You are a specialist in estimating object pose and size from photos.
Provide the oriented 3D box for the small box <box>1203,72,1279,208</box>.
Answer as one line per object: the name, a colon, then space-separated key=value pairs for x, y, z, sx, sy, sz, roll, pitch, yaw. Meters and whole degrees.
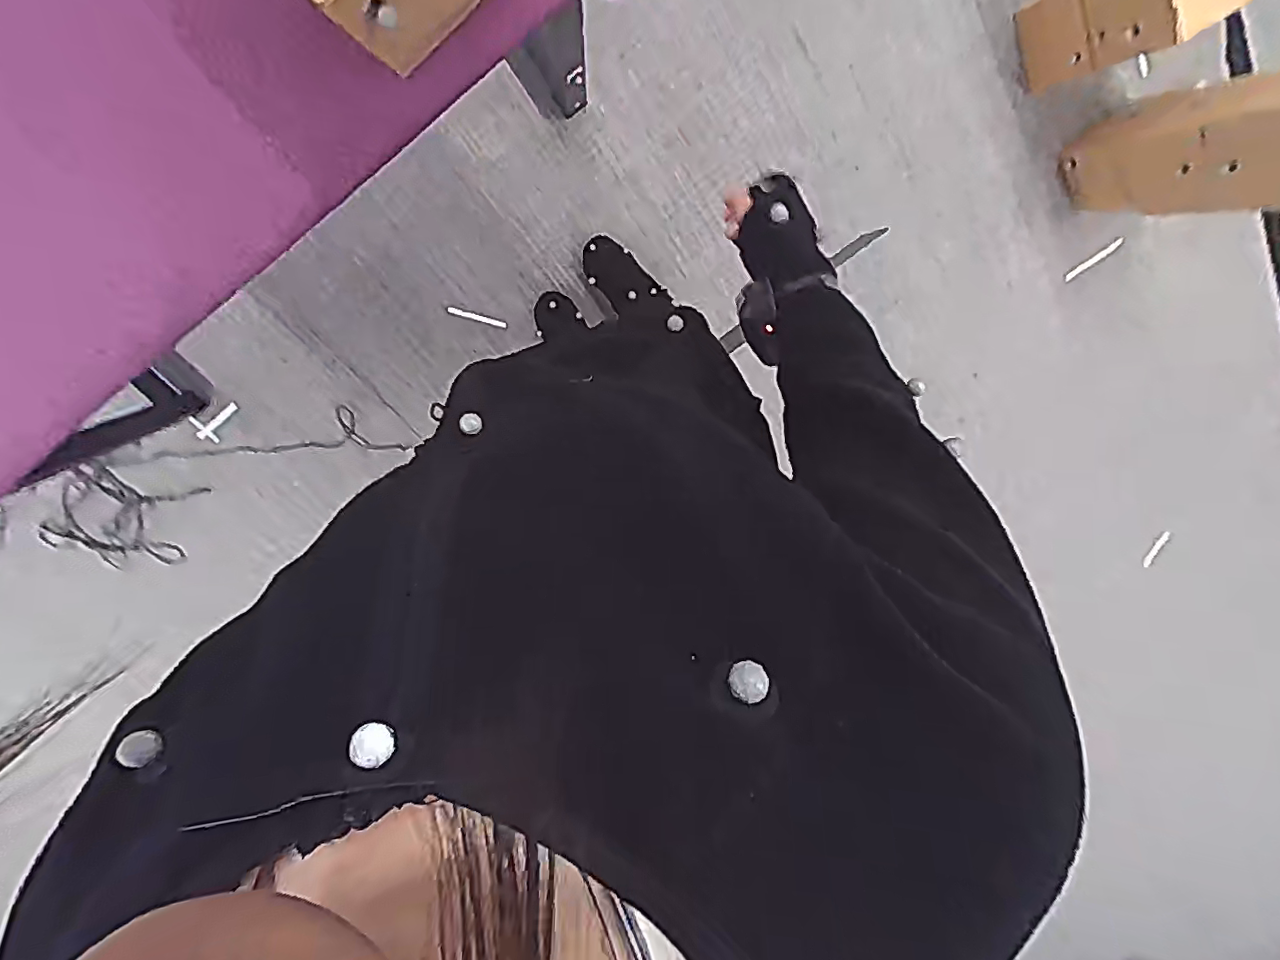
small box: x=1.114 y=-0.581 z=0.908 sx=0.168 sy=0.176 sz=0.179 roll=-31 pitch=114 yaw=8

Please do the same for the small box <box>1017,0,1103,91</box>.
small box: x=0.908 y=-0.938 z=1.093 sx=0.168 sy=0.176 sz=0.179 roll=-30 pitch=113 yaw=7

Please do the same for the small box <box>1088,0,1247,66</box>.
small box: x=0.932 y=-0.876 z=0.945 sx=0.179 sy=0.176 sz=0.168 roll=-32 pitch=114 yaw=7

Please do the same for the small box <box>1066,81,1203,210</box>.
small box: x=1.098 y=-0.727 z=1.202 sx=0.179 sy=0.176 sz=0.168 roll=-36 pitch=113 yaw=9

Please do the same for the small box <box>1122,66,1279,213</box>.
small box: x=1.102 y=-0.648 z=1.057 sx=0.168 sy=0.176 sz=0.179 roll=-34 pitch=113 yaw=10
